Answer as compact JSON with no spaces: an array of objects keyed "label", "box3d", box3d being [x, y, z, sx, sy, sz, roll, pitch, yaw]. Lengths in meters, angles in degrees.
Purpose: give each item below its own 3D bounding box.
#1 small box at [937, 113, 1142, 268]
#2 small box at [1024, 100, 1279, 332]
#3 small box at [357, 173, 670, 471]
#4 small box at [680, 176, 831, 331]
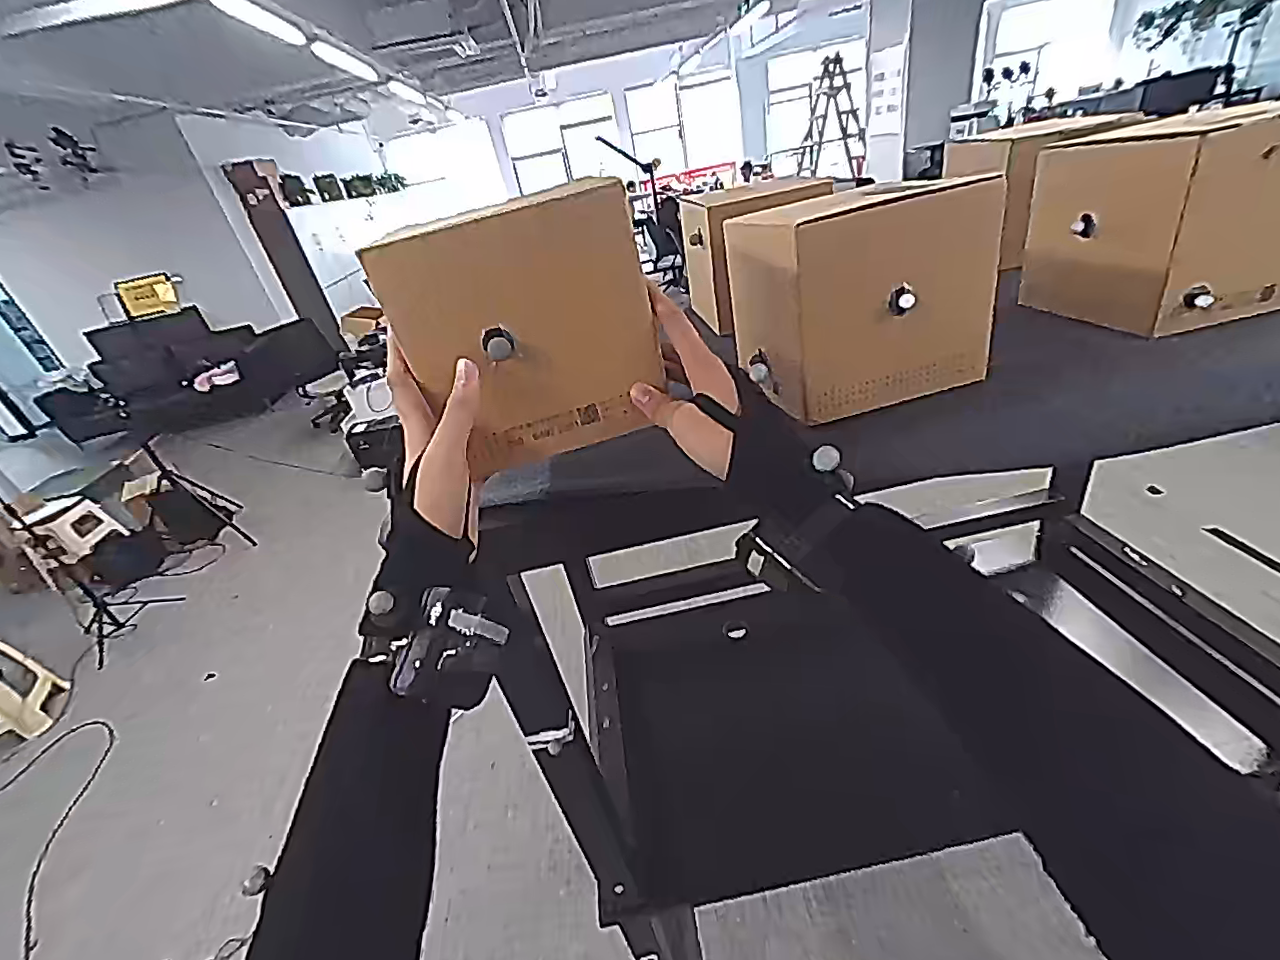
[{"label":"small box","box3d":[0.565,-0.420,0.796,0.168,0.176,0.179,-9,30,3]},{"label":"small box","box3d":[0.525,-0.254,0.532,0.168,0.176,0.179,-13,28,0]},{"label":"small box","box3d":[-0.085,-0.124,0.426,0.168,0.176,0.179,-18,32,-3]},{"label":"small box","box3d":[0.163,-0.325,0.779,0.168,0.176,0.179,-12,31,-2]}]
